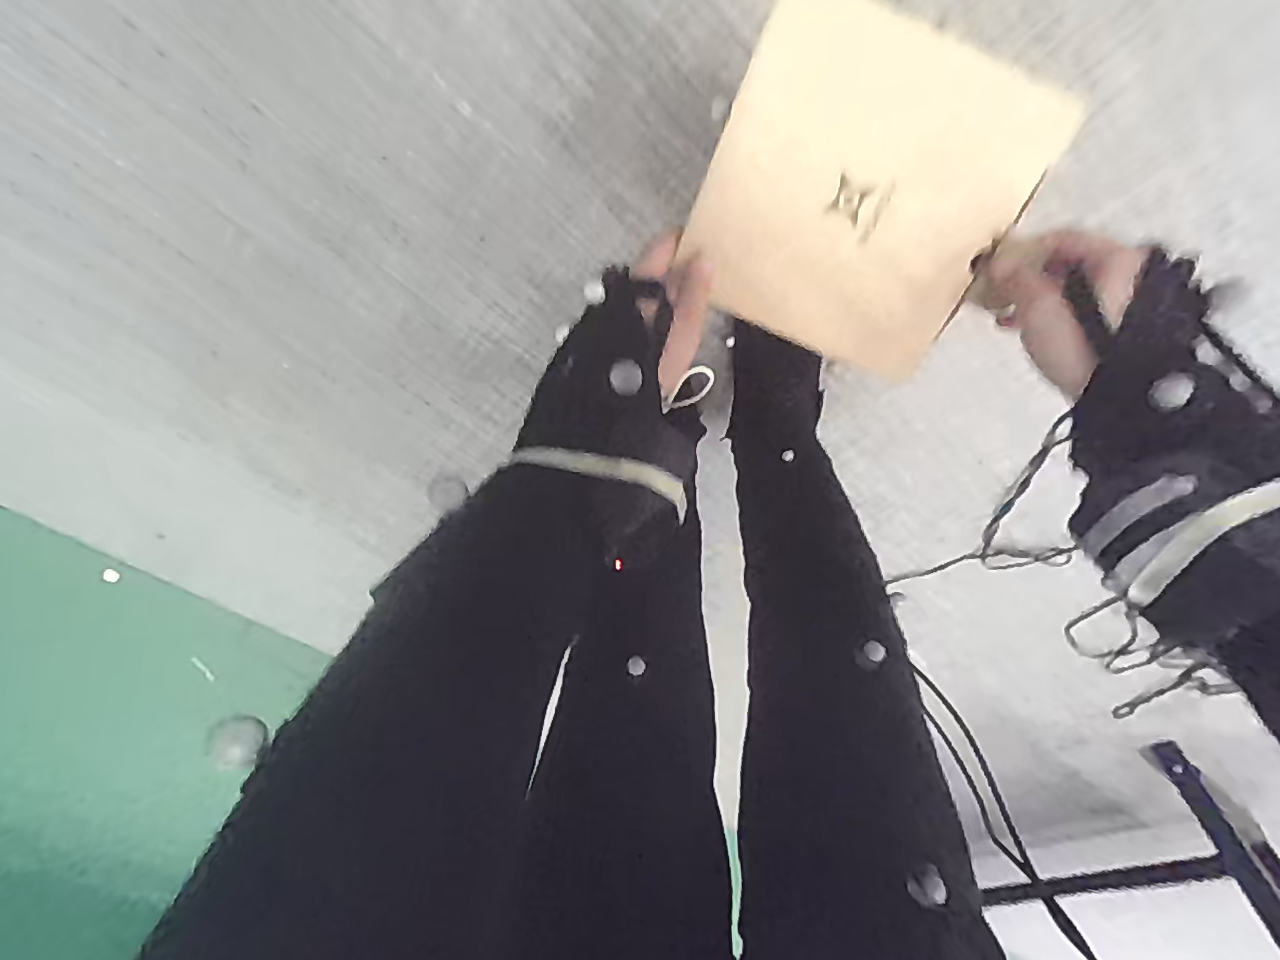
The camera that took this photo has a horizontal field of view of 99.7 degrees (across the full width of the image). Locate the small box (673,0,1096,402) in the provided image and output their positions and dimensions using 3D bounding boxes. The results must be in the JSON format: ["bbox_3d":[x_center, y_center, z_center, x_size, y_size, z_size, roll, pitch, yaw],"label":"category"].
[{"bbox_3d":[0.138,-0.182,0.381,0.179,0.176,0.168,22,117,-5],"label":"small box"}]
